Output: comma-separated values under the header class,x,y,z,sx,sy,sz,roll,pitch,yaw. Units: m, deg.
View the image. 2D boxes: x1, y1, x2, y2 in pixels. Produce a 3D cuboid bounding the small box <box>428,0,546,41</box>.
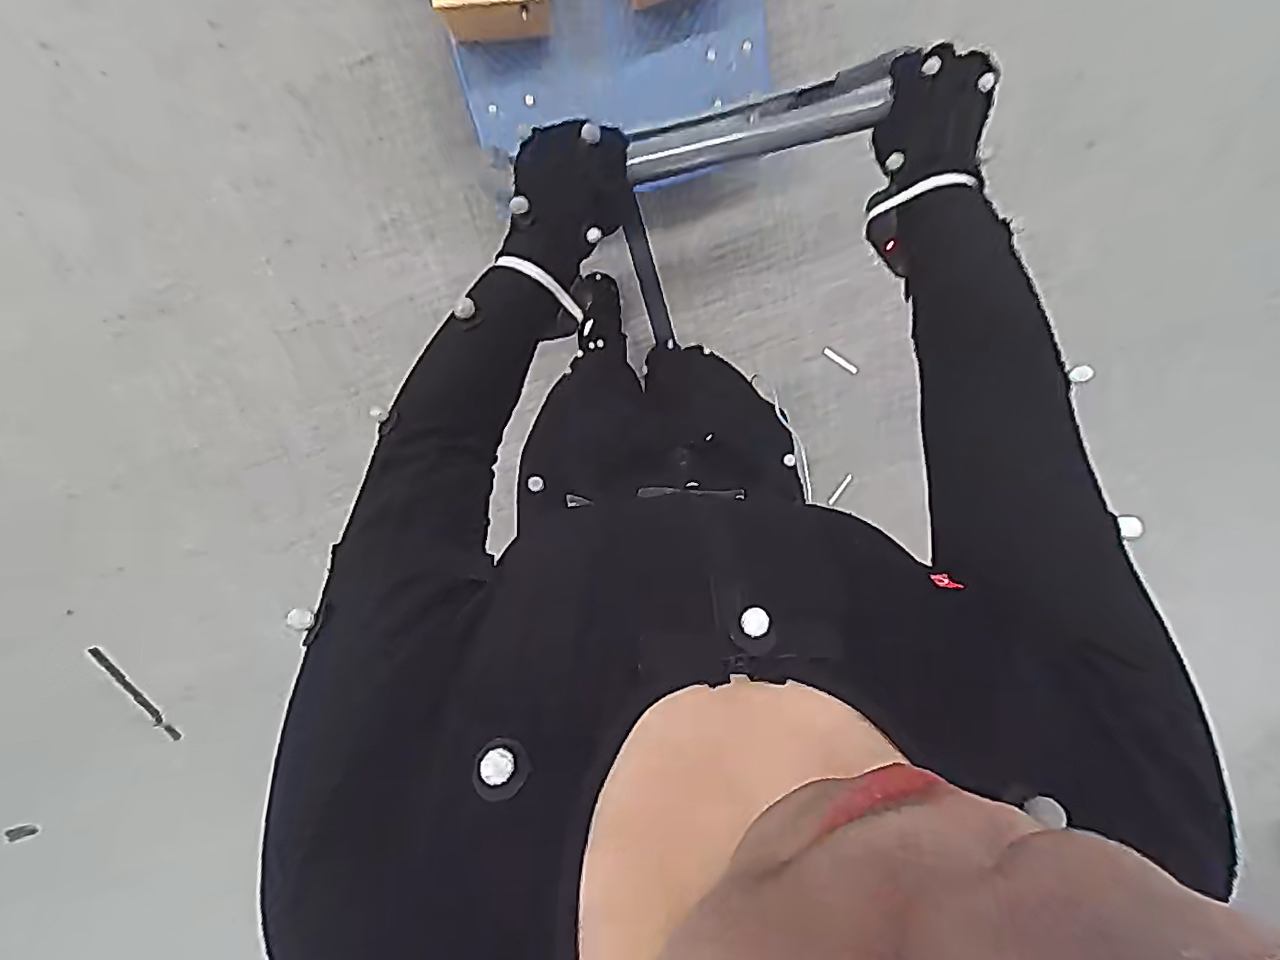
class,x,y,z,sx,sy,sz,roll,pitch,yaw
small box,-0.247,-0.819,0.845,0.179,0.176,0.168,-10,115,-5
